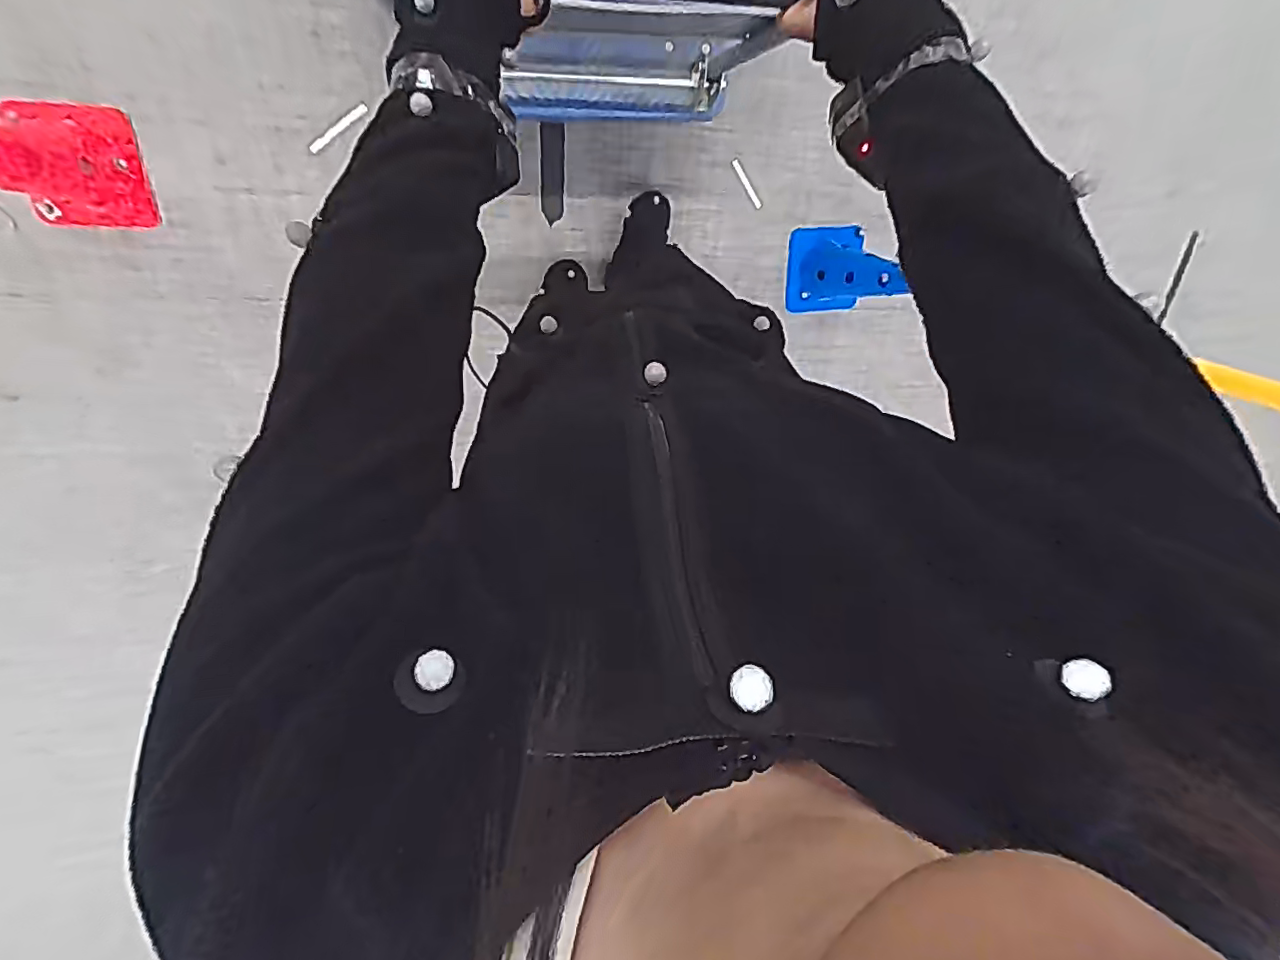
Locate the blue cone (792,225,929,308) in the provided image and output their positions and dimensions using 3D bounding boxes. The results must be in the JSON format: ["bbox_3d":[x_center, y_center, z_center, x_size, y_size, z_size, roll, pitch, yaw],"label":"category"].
[{"bbox_3d":[0.508,-0.471,1.218,0.193,0.380,0.192,-6,115,-11],"label":"blue cone"}]
